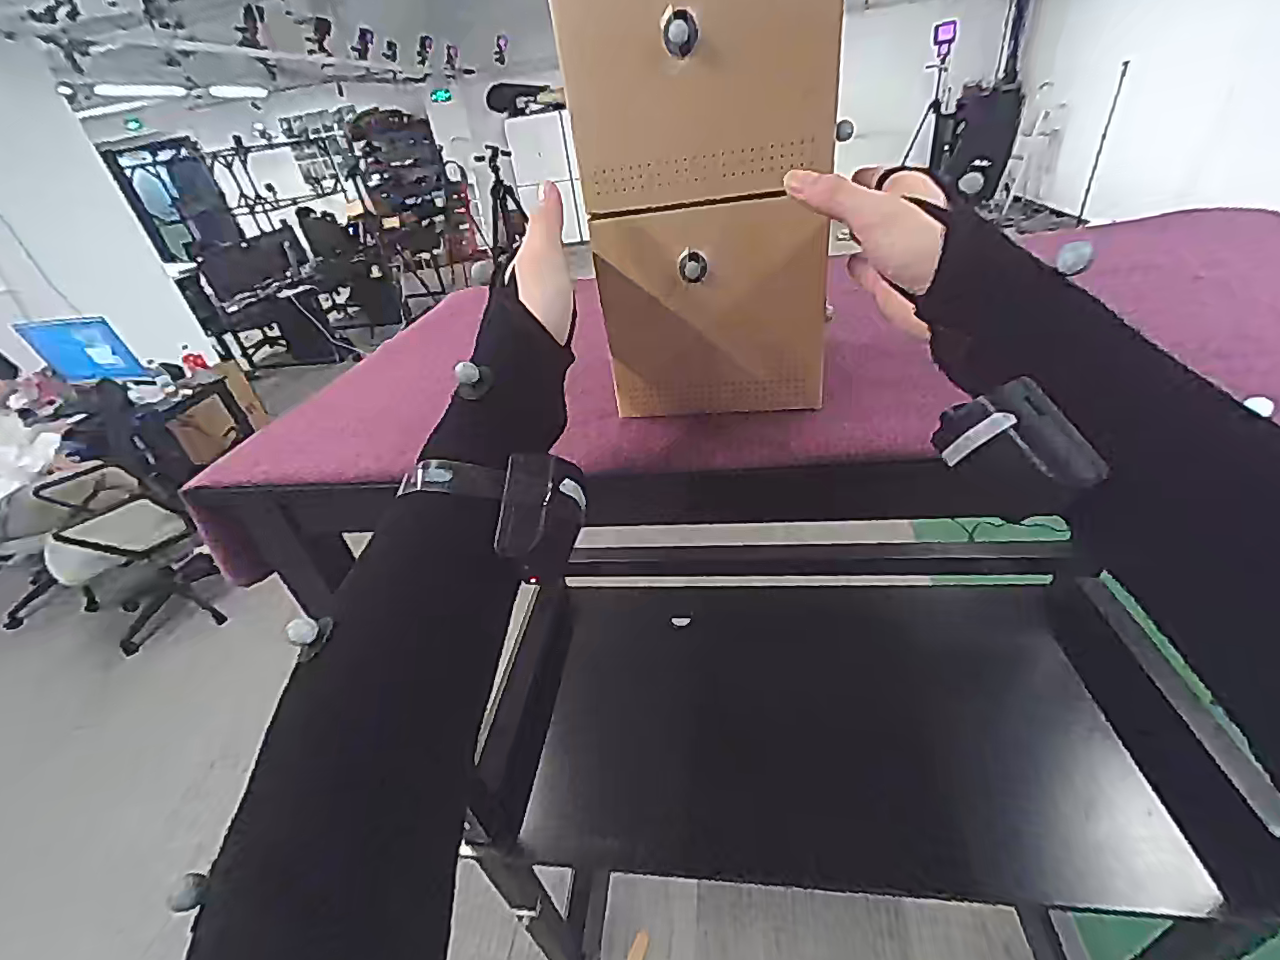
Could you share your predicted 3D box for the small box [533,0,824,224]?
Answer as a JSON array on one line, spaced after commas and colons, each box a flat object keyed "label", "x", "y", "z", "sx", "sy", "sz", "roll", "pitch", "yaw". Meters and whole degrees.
[{"label": "small box", "x": 0.039, "y": -0.301, "z": 0.401, "sx": 0.179, "sy": 0.176, "sz": 0.168, "roll": -2, "pitch": 34, "yaw": 13}]

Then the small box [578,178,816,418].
[{"label": "small box", "x": 0.063, "y": -0.165, "z": 0.491, "sx": 0.179, "sy": 0.176, "sz": 0.168, "roll": -1, "pitch": 35, "yaw": 13}]
